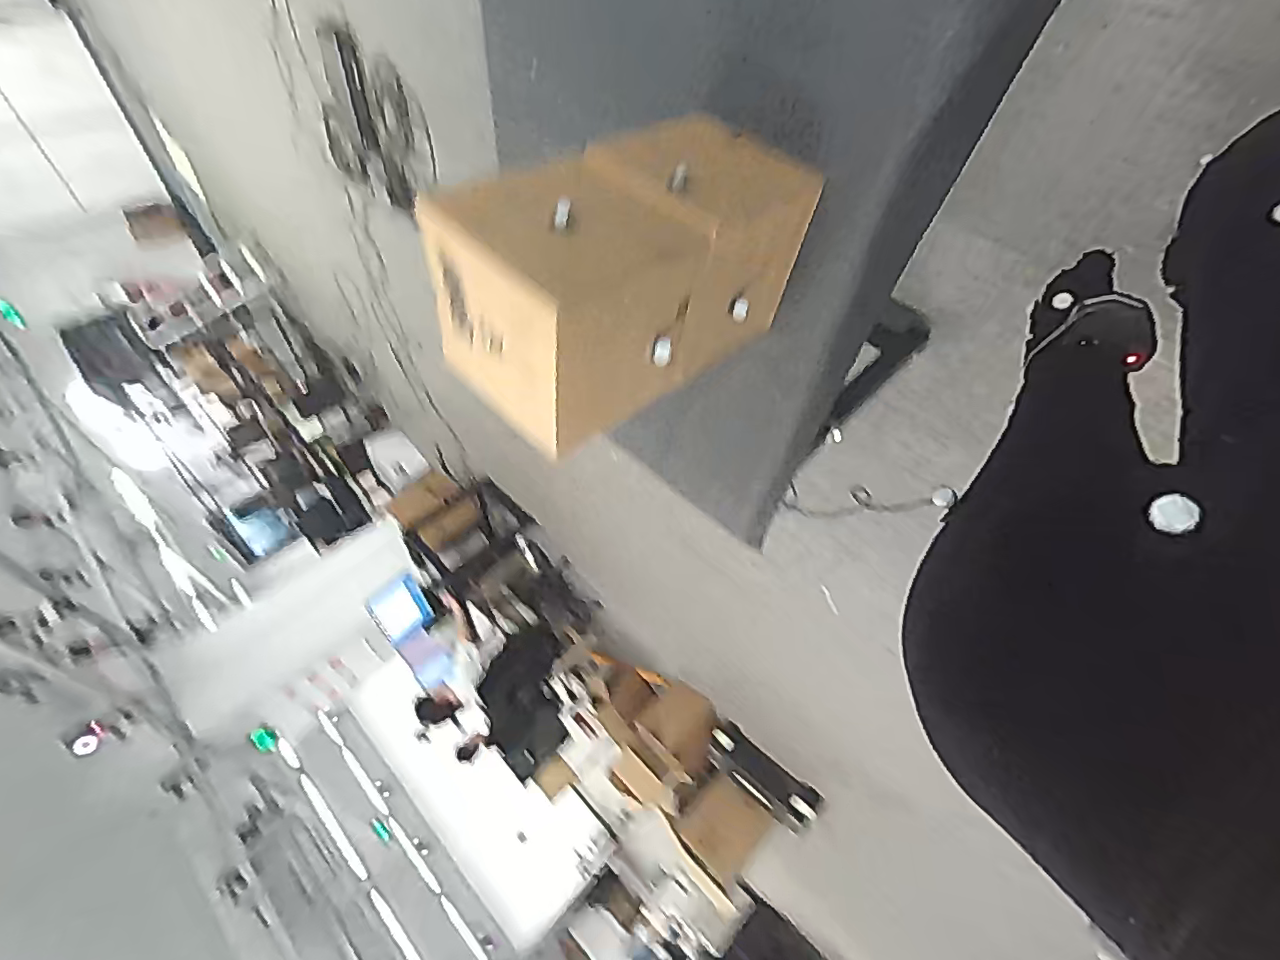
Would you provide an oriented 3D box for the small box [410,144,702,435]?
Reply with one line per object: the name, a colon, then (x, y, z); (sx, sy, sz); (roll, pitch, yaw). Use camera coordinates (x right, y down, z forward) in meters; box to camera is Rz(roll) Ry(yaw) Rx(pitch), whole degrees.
small box: (-0.074, -0.180, 0.494); (0.179, 0.176, 0.168); (41, 148, 19)
